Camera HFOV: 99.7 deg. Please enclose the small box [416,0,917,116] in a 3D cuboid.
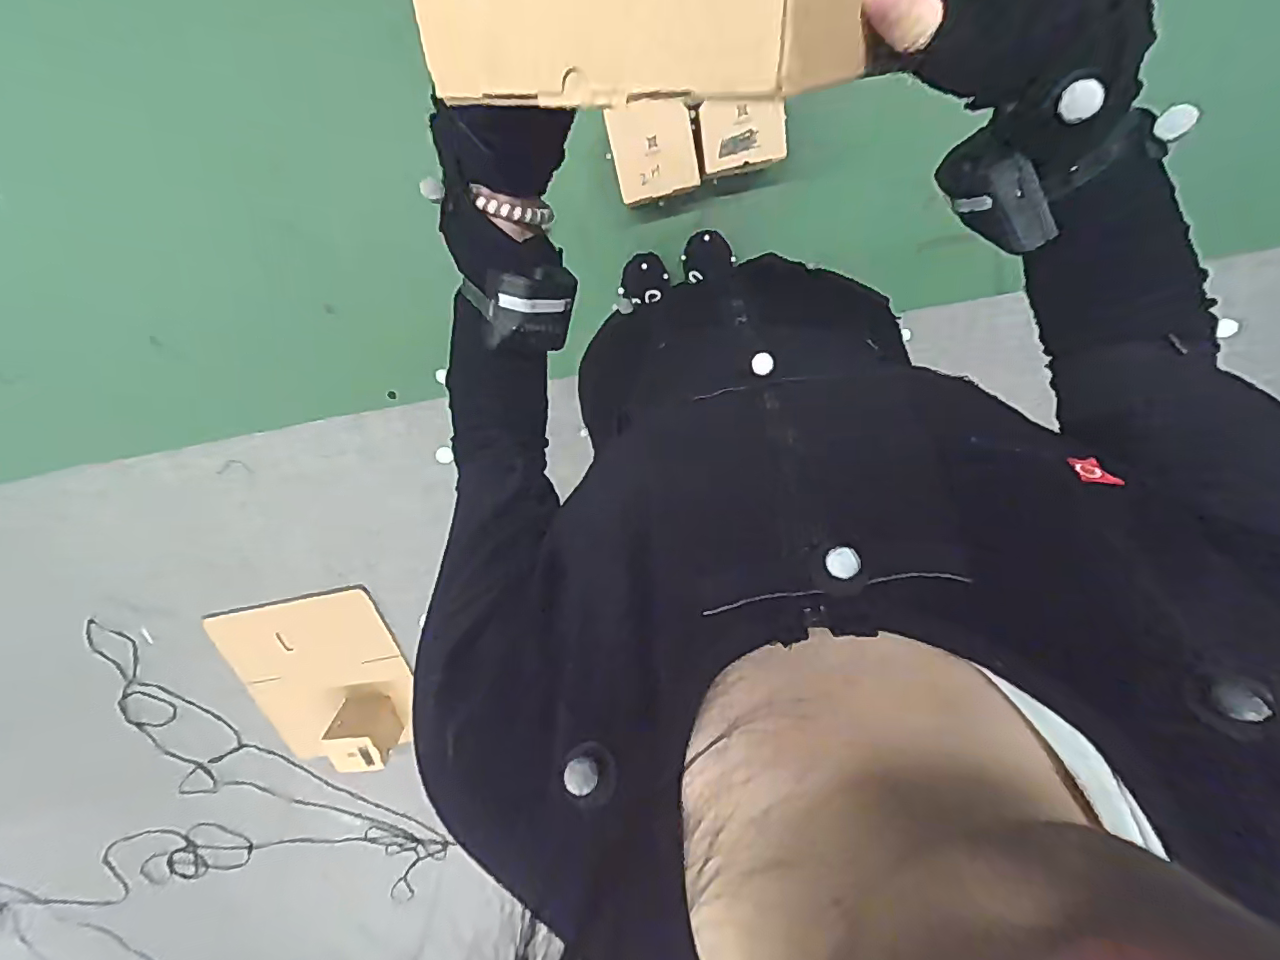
[{"bbox_3d":[0.017,-0.257,0.207,0.168,0.176,0.179,21,138,28],"label":"small box"}]
